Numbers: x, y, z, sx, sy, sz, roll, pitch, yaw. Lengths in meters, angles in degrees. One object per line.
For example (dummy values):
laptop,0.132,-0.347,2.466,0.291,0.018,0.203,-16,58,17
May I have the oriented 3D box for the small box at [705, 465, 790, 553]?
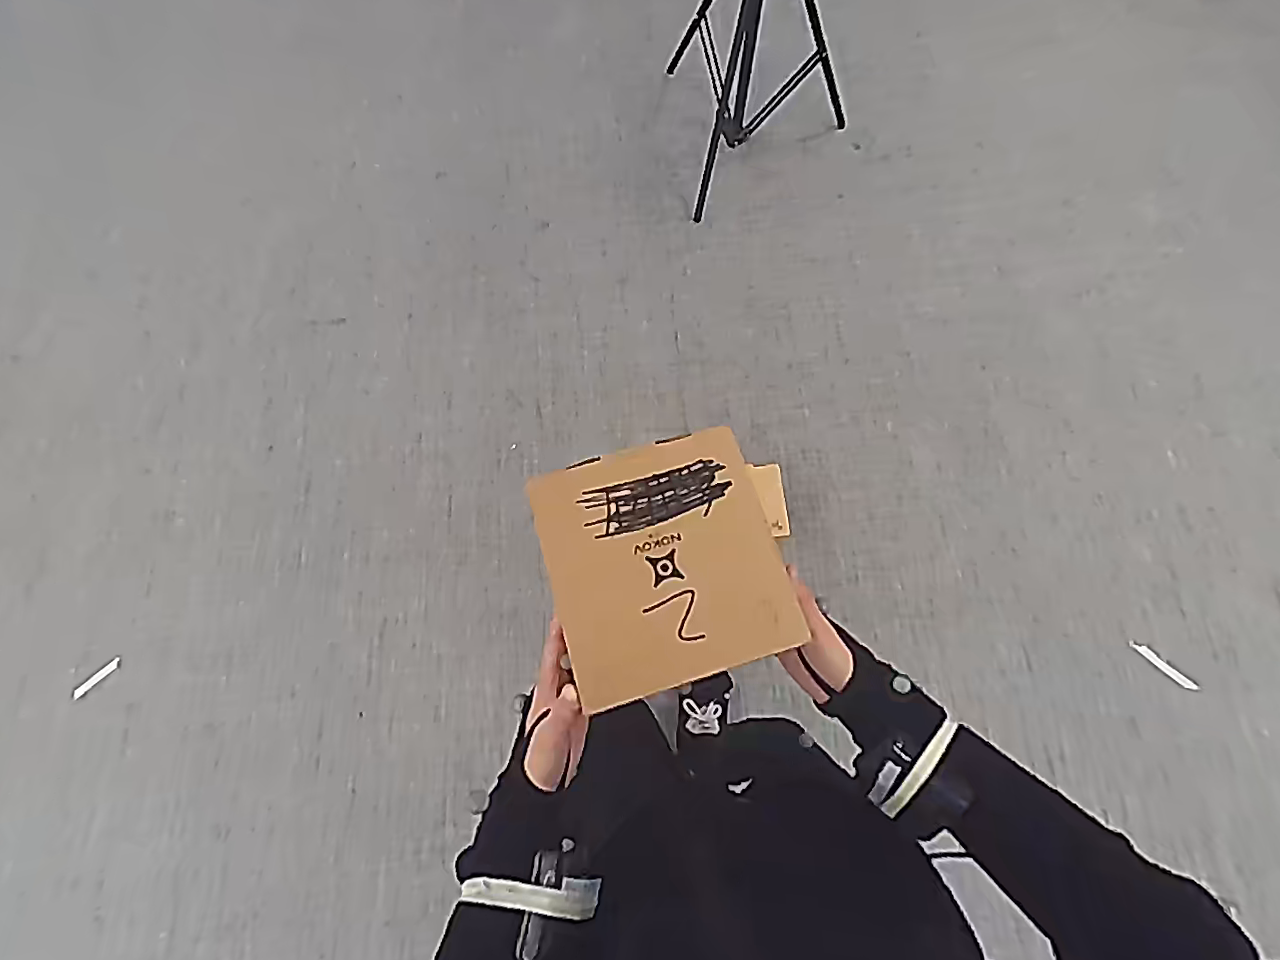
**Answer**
small box,0.257,0.075,1.332,0.168,0.176,0.179,-5,74,0
